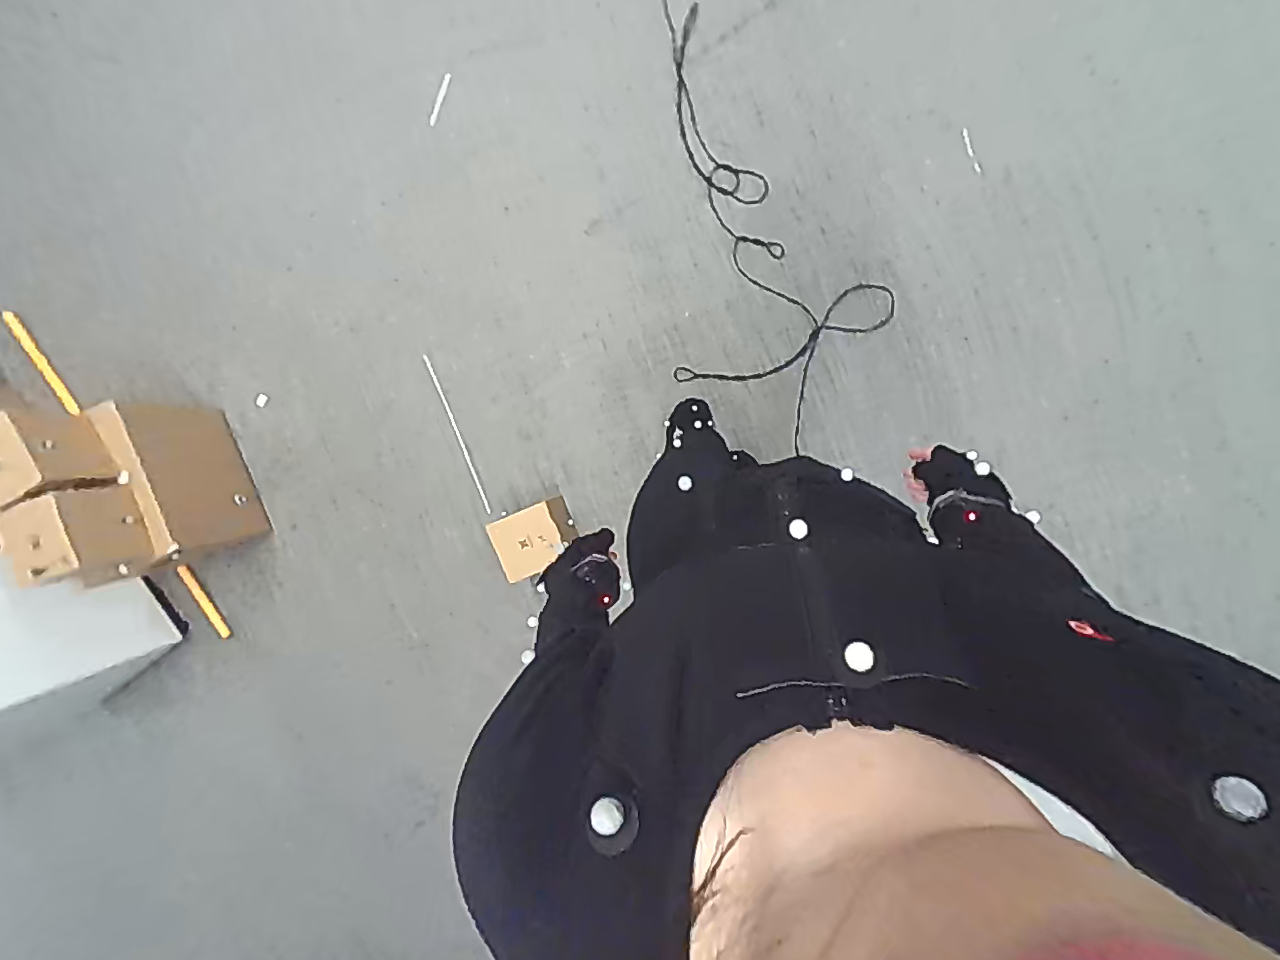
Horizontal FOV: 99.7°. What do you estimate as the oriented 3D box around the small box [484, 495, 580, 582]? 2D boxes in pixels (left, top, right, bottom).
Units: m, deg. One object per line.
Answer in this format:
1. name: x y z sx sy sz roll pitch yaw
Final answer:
1. small box: -0.281 0.151 1.448 0.179 0.176 0.168 -23 92 7
